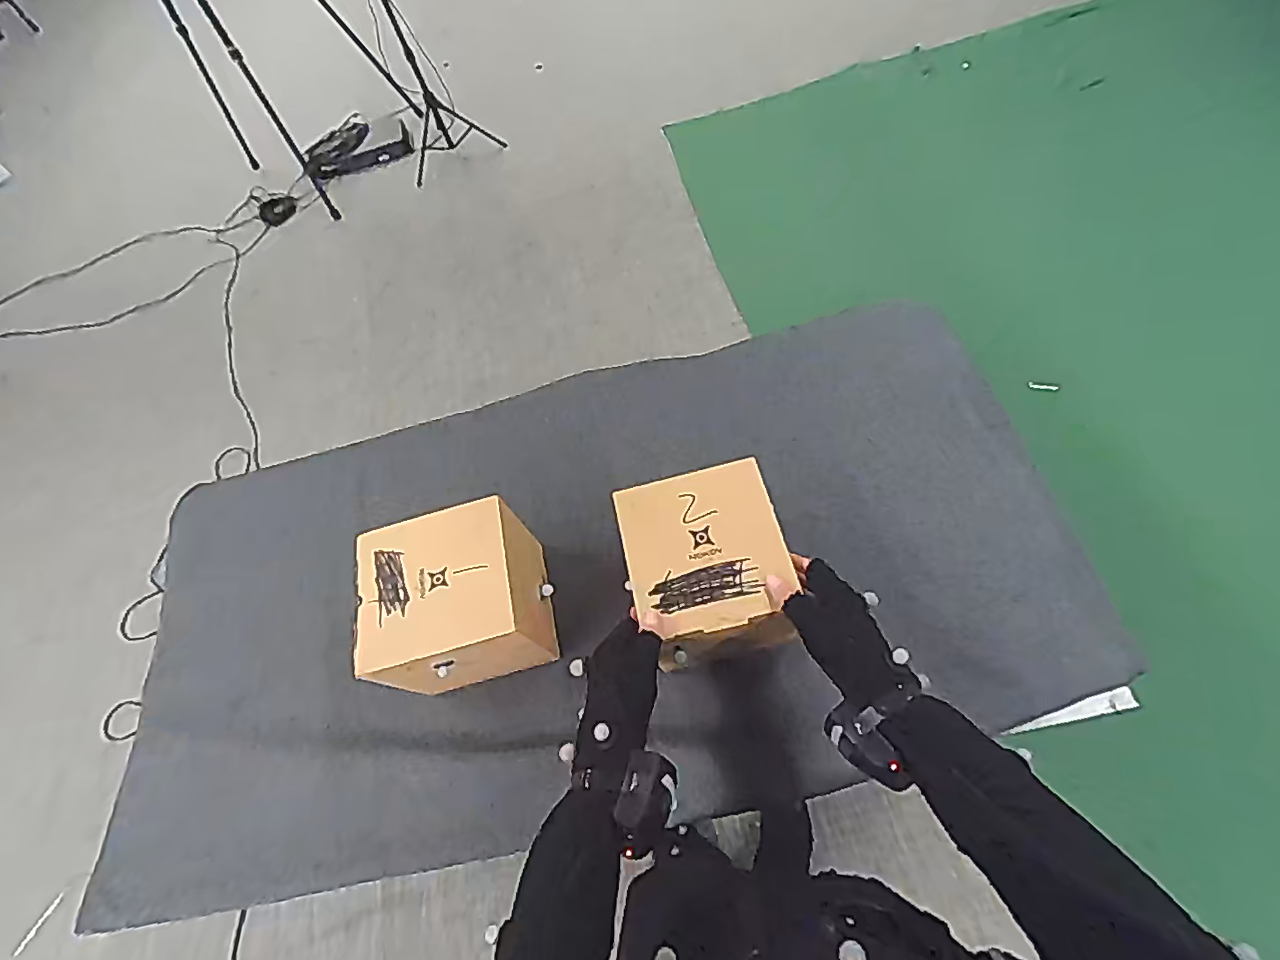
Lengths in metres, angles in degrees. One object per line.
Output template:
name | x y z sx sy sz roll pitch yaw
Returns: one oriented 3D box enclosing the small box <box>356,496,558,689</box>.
small box | -0.217 0.147 0.666 0.179 0.176 0.168 -16 61 1
